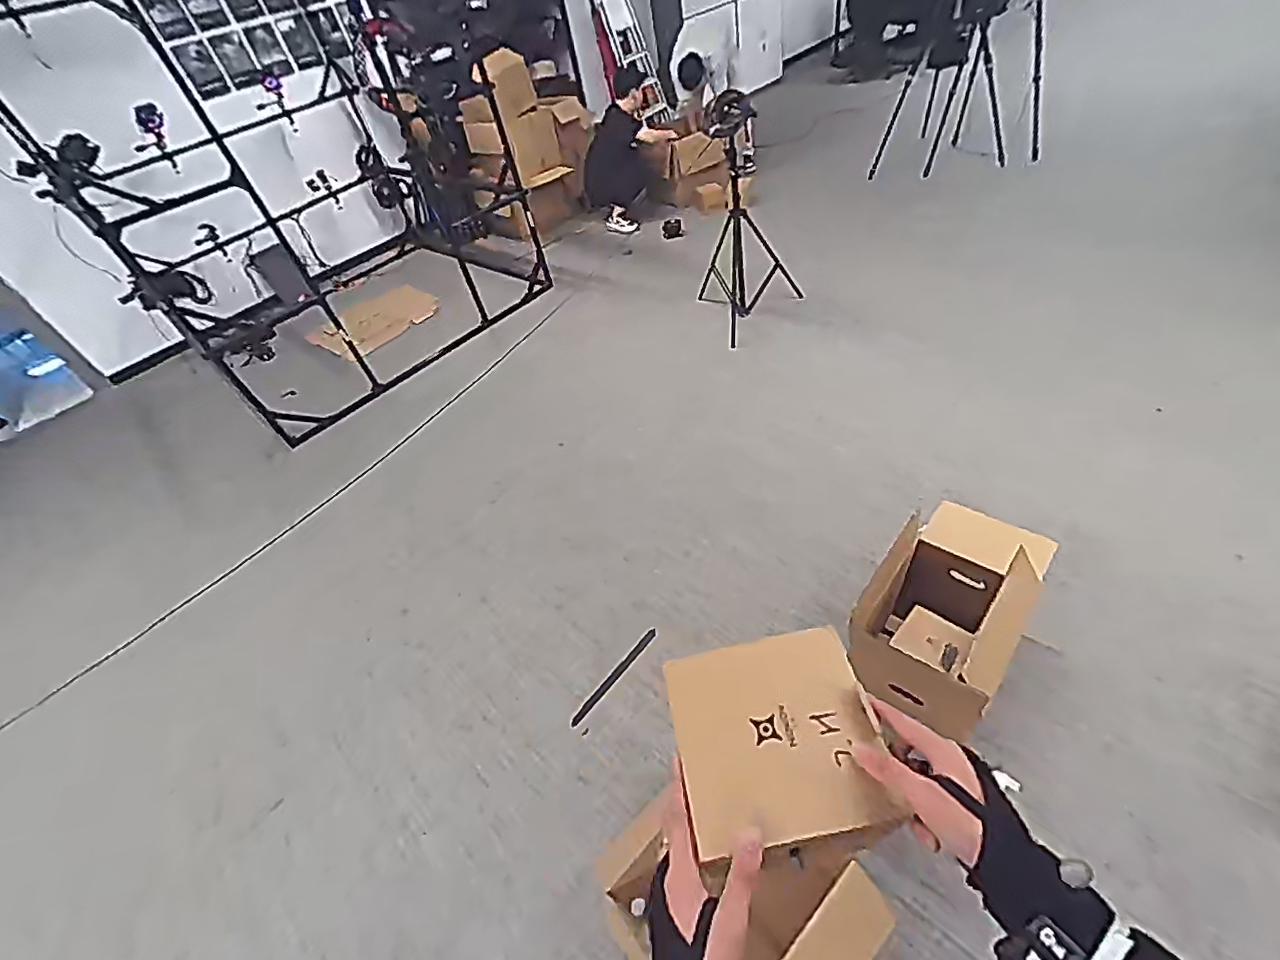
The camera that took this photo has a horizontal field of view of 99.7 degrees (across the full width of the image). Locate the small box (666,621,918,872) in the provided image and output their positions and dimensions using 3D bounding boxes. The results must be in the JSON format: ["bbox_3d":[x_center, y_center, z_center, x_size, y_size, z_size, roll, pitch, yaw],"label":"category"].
[{"bbox_3d":[0.133,0.264,0.529,0.179,0.176,0.168,-12,49,0],"label":"small box"}]
